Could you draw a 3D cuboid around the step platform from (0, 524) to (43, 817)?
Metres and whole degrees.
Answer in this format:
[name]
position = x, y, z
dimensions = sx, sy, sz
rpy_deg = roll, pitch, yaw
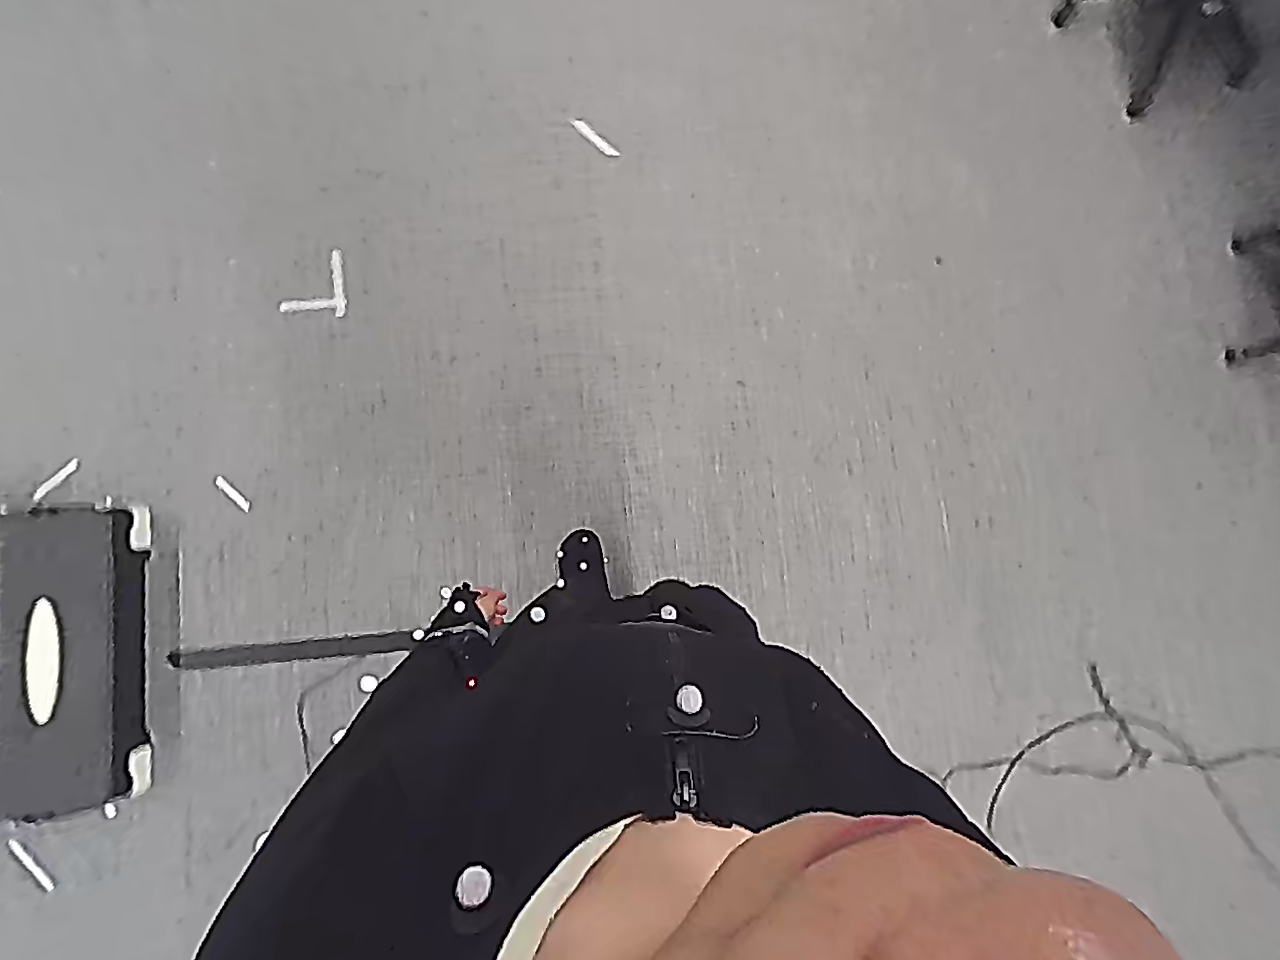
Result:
[step platform]
position = -1.536, 0.427, 1.133
dimensions = 0.286, 0.204, 0.684
rpy_deg = 1, 82, -5
